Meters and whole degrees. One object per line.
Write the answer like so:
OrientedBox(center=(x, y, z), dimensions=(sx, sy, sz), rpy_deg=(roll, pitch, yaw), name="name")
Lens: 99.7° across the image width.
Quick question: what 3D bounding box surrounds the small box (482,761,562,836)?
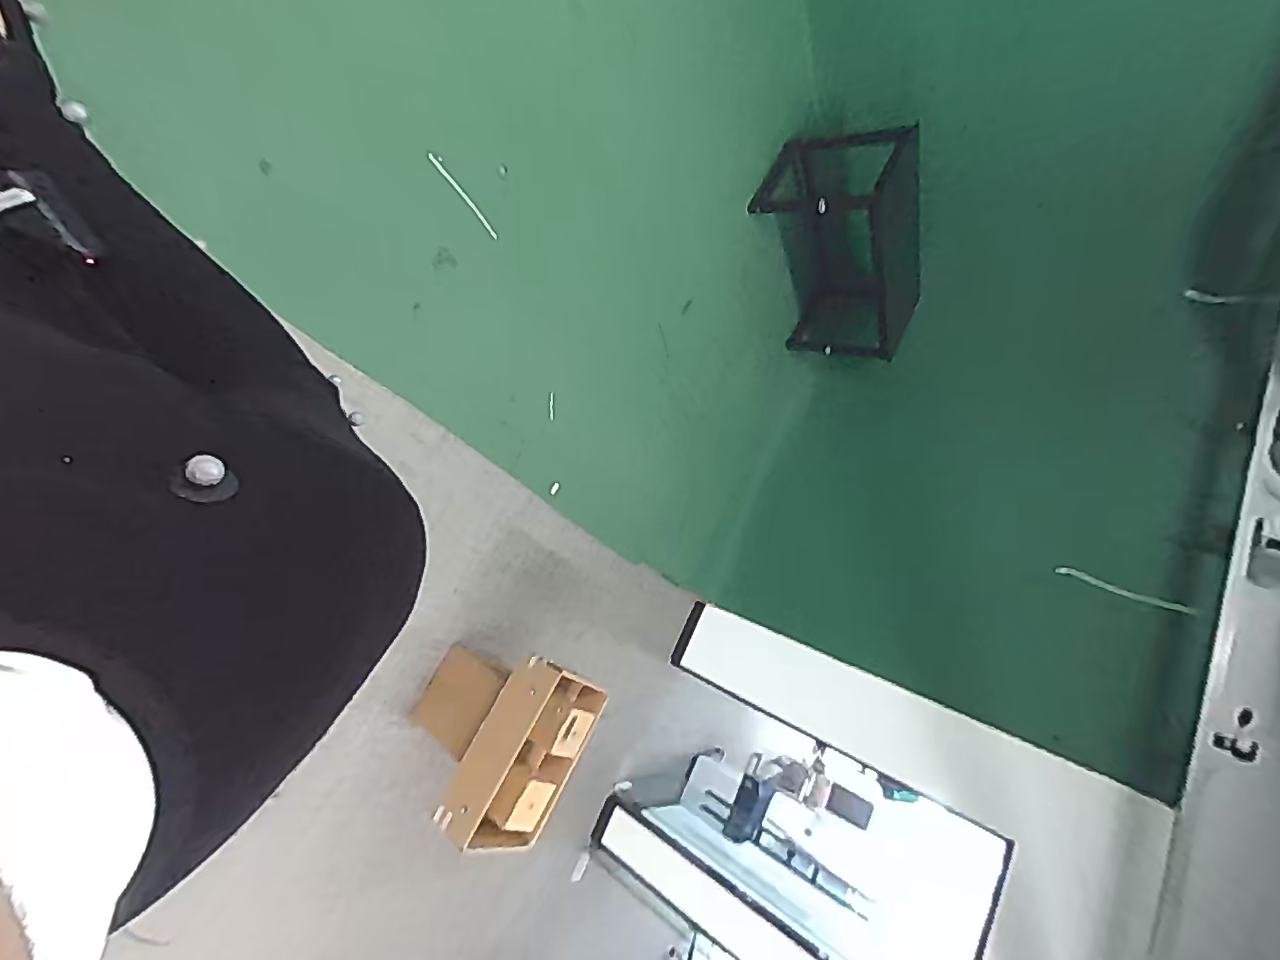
OrientedBox(center=(-0.416, 1.120, 1.908), dimensions=(0.168, 0.176, 0.179), rpy_deg=(-59, 142, -18), name="small box")
